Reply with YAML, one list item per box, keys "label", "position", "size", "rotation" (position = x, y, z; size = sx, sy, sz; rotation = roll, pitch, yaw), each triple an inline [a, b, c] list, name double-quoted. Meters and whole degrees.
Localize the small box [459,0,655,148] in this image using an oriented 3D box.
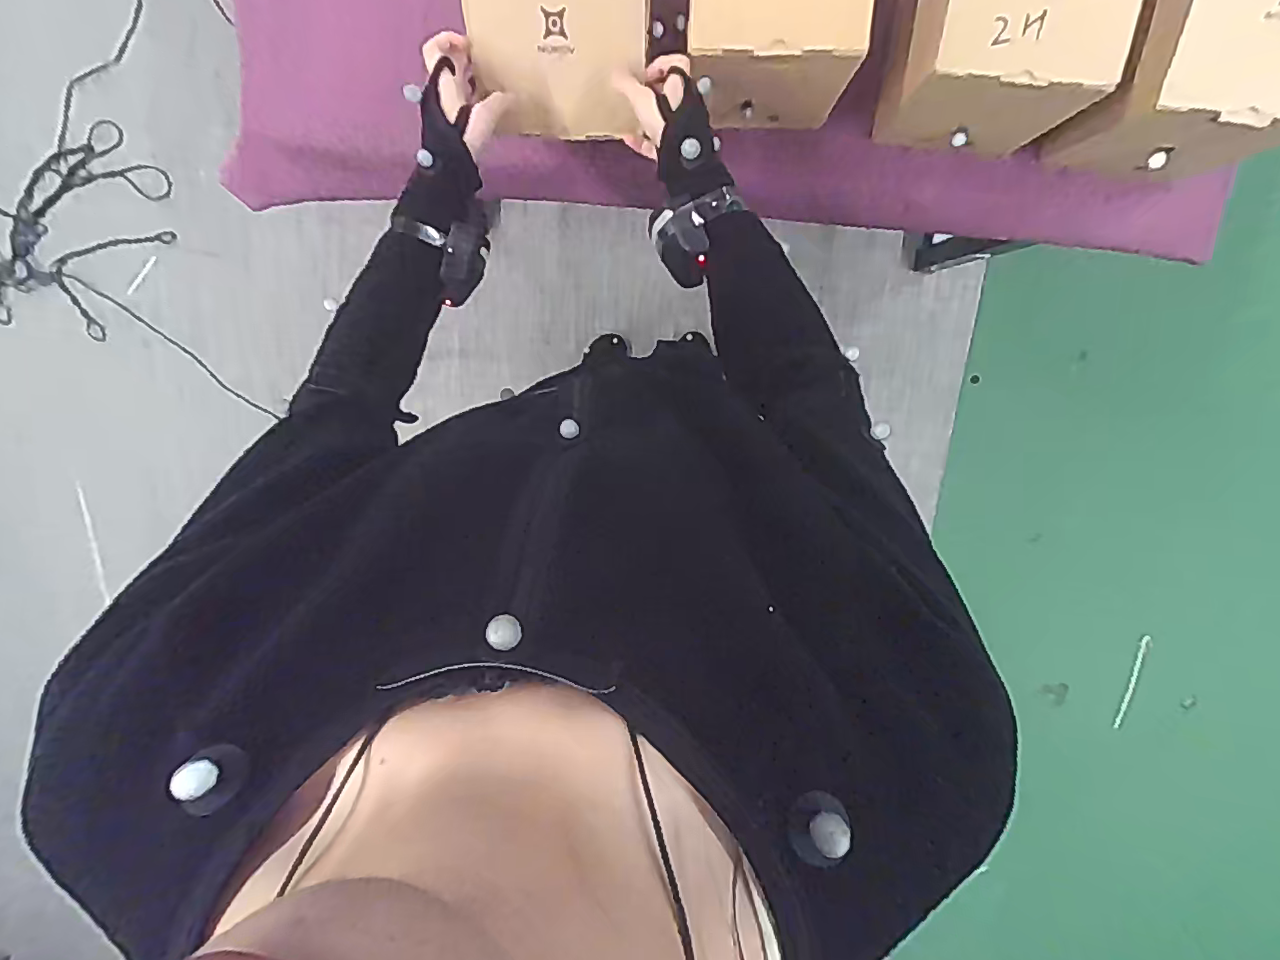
- label: "small box"
  position: [-0.071, -0.461, 0.544]
  size: [0.168, 0.176, 0.179]
  rotation: [3, 137, 3]
